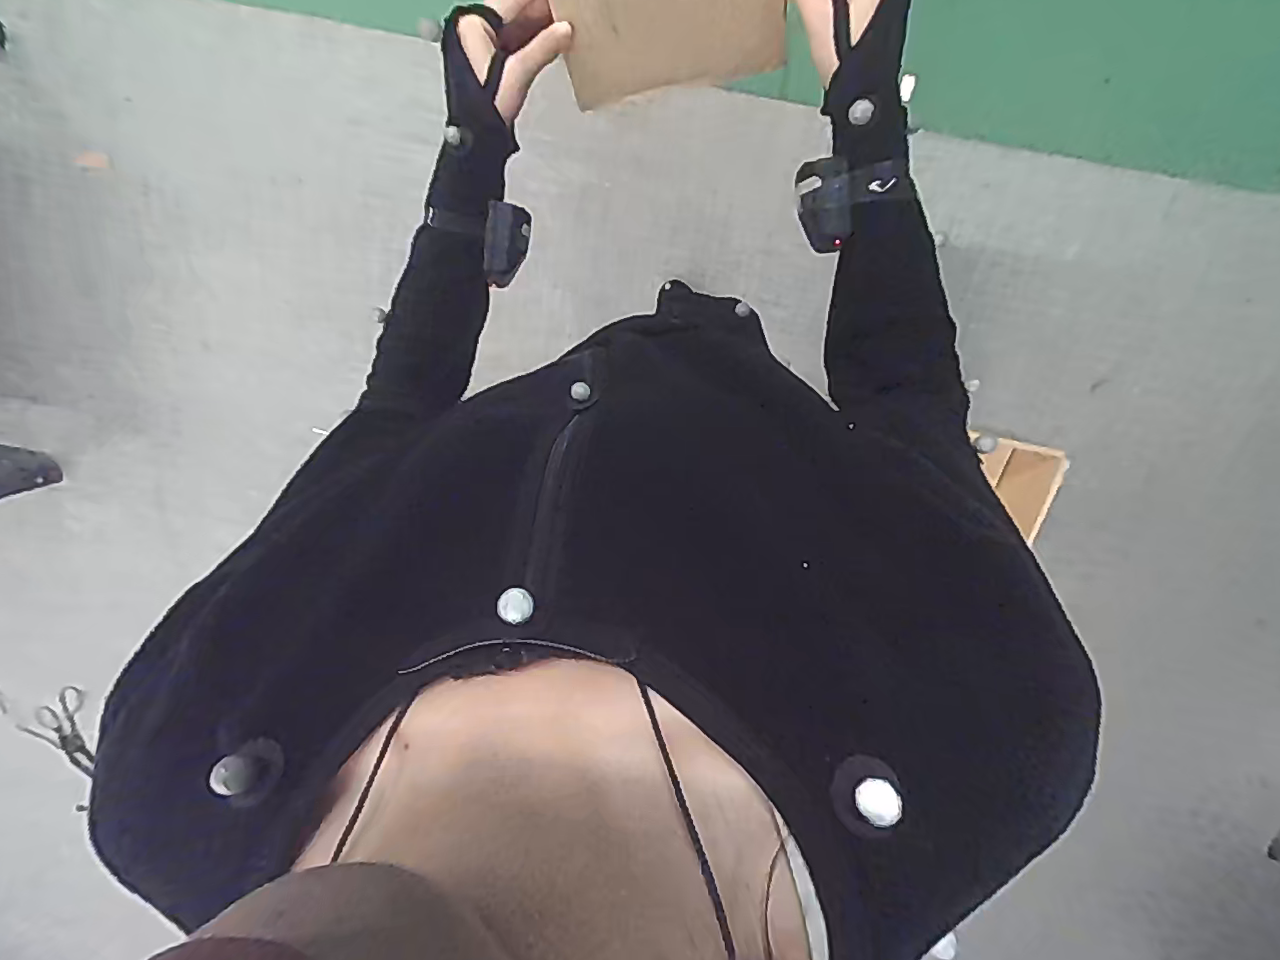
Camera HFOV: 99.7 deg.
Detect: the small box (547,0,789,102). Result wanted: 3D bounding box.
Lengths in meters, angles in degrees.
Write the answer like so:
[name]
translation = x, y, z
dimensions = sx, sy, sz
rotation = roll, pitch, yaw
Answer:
[small box]
translation = 0.015, -0.436, 0.415
dimensions = 0.179, 0.176, 0.168
rotation = -5, 146, 12
